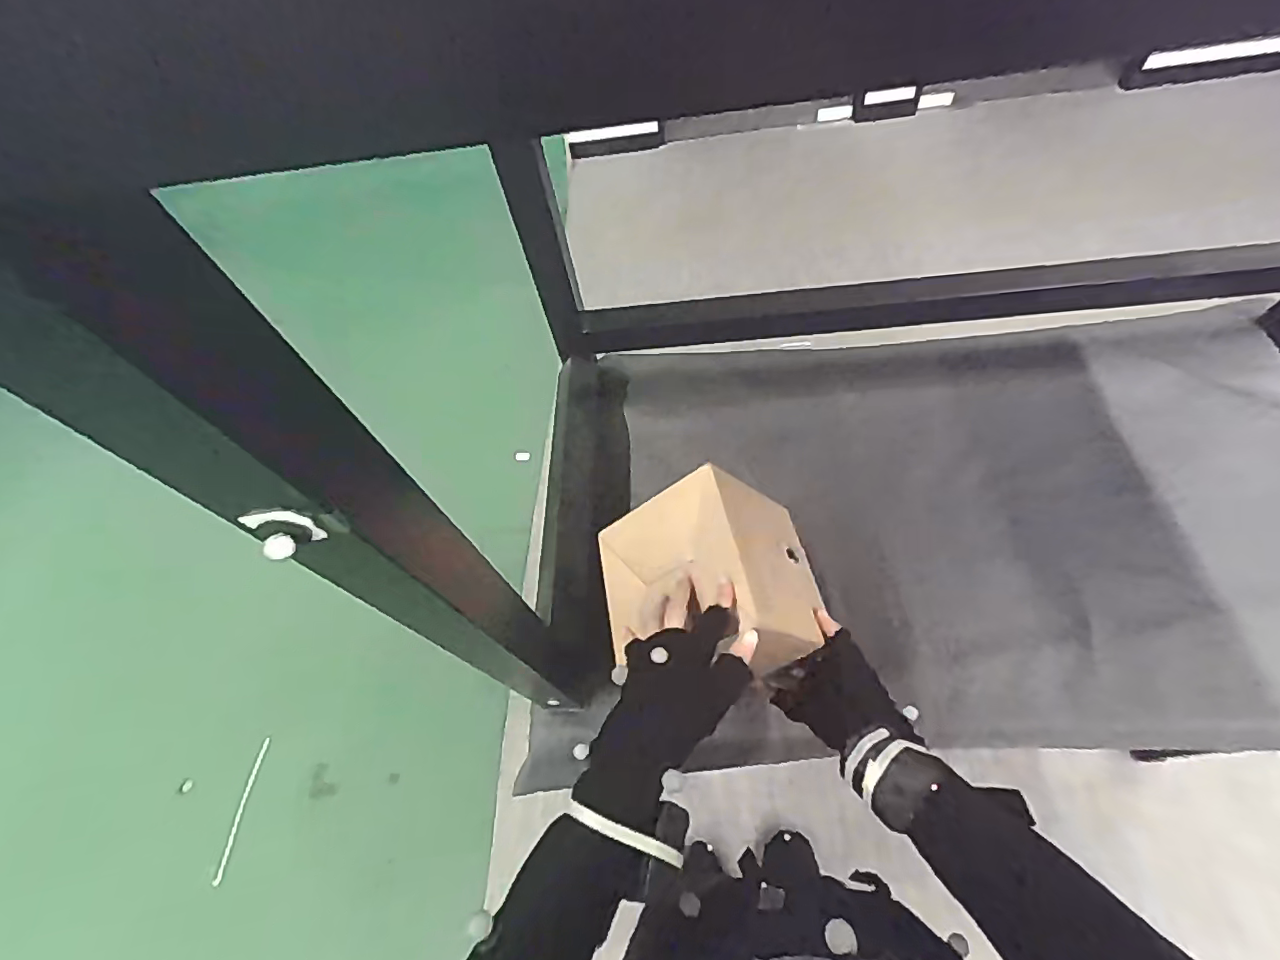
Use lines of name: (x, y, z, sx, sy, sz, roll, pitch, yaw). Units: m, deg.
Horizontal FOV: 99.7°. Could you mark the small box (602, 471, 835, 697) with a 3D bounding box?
small box: (0.077, 0.118, 0.591, 0.168, 0.176, 0.179, -34, 48, 28)
